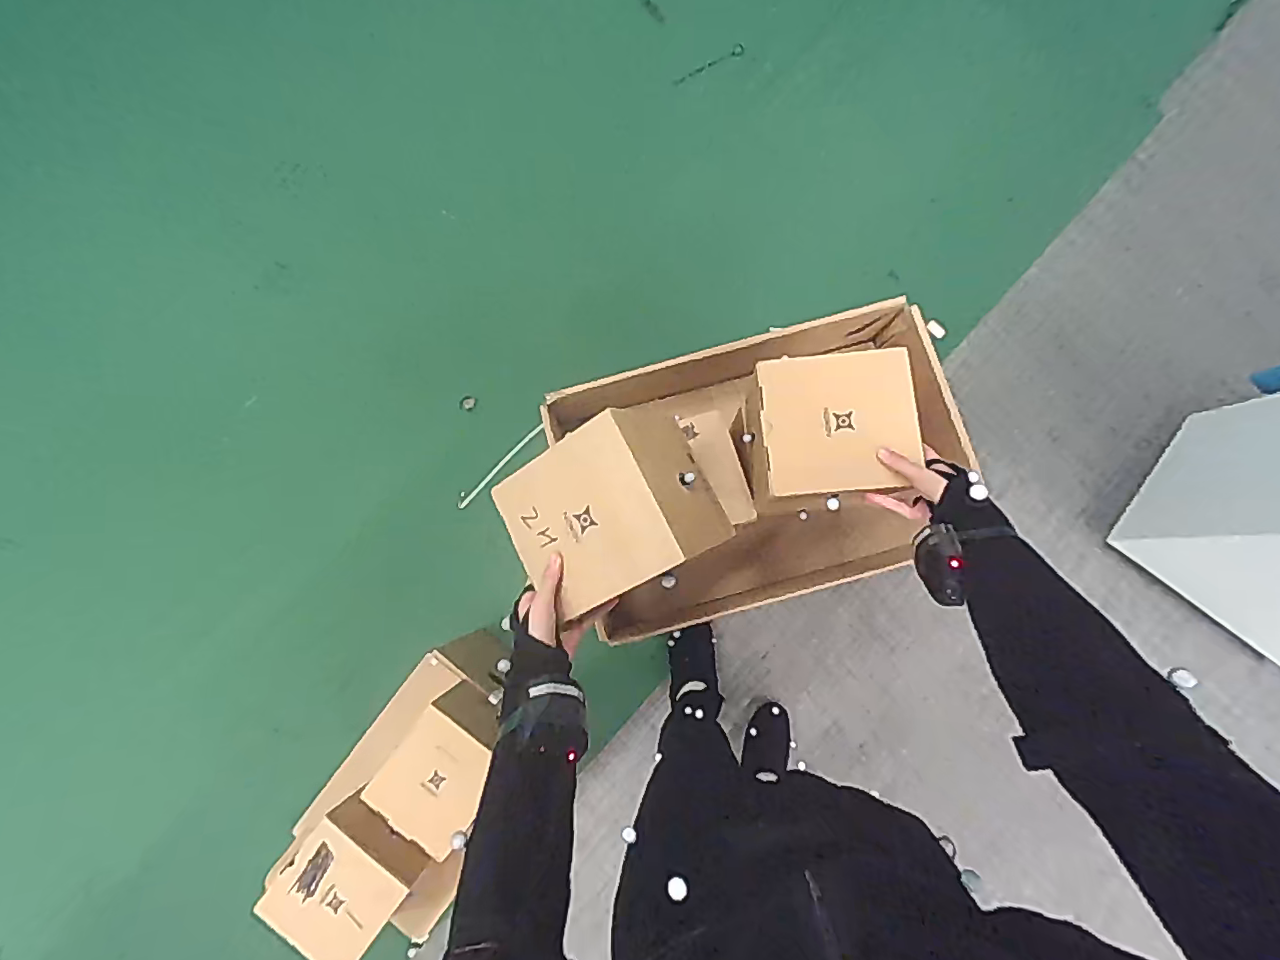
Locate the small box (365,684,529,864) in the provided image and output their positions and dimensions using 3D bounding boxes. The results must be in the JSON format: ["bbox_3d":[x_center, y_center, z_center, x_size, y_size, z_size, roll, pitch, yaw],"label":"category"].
[{"bbox_3d":[-0.309,0.479,0.912,0.168,0.176,0.179,37,83,5],"label":"small box"}]

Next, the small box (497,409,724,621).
[{"bbox_3d":[-0.021,0.035,0.617,0.179,0.176,0.168,-30,79,24],"label":"small box"}]

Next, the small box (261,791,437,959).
[{"bbox_3d":[-0.453,0.641,0.889,0.179,0.176,0.168,36,84,6],"label":"small box"}]
